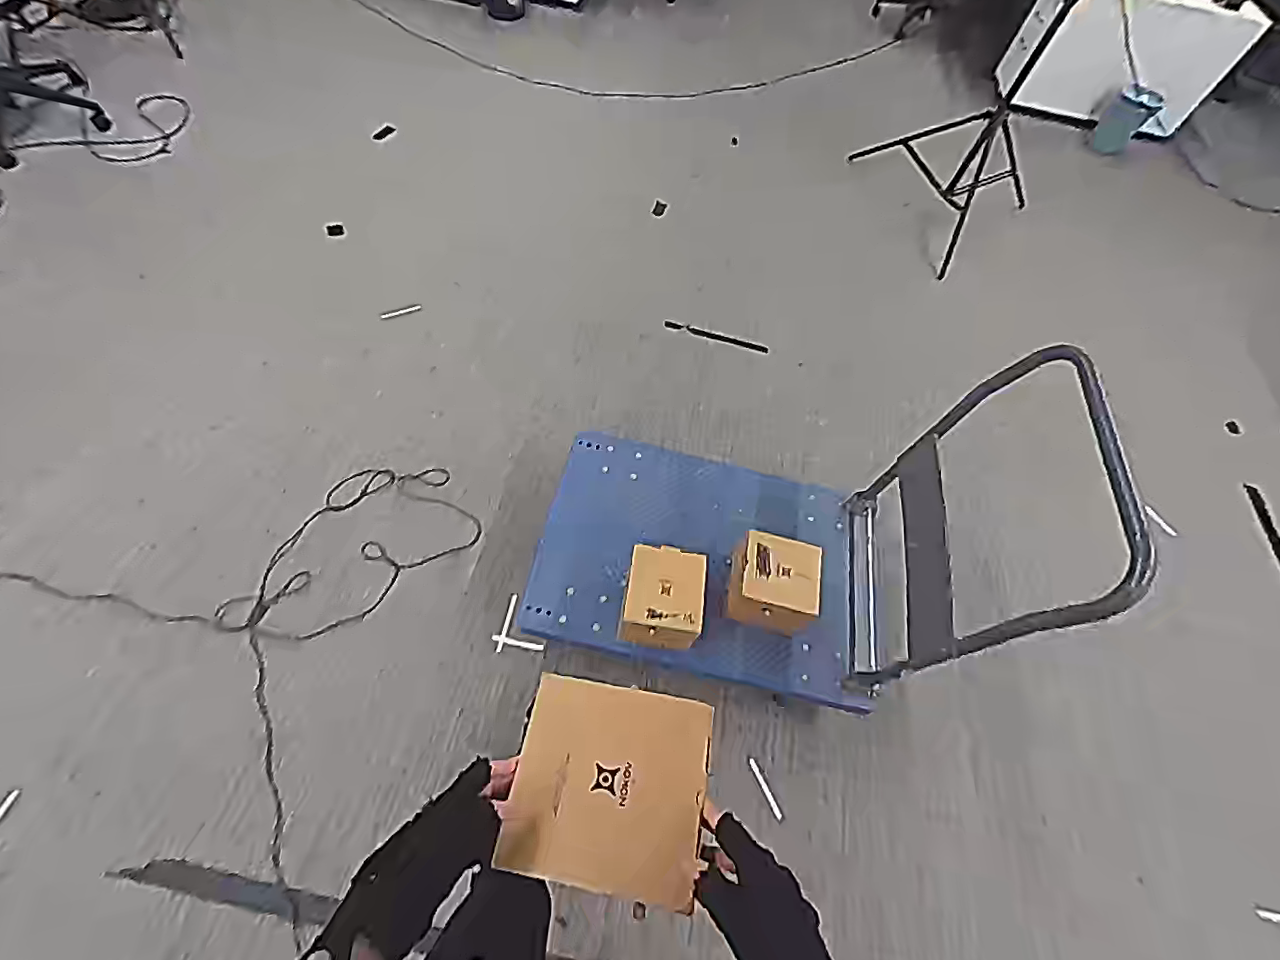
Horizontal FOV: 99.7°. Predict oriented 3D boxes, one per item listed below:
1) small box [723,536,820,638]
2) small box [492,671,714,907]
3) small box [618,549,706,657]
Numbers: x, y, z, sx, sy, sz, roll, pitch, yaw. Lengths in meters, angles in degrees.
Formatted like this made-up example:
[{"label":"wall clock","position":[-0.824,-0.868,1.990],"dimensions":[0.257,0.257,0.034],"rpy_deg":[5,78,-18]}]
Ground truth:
[{"label":"small box","position":[0.304,0.257,1.273],"dimensions":[0.179,0.176,0.168],"rpy_deg":[15,58,1]},{"label":"small box","position":[-0.026,0.318,0.560],"dimensions":[0.179,0.176,0.168],"rpy_deg":[7,53,7]},{"label":"small box","position":[0.045,0.281,1.223],"dimensions":[0.168,0.176,0.179],"rpy_deg":[10,57,-2]}]
